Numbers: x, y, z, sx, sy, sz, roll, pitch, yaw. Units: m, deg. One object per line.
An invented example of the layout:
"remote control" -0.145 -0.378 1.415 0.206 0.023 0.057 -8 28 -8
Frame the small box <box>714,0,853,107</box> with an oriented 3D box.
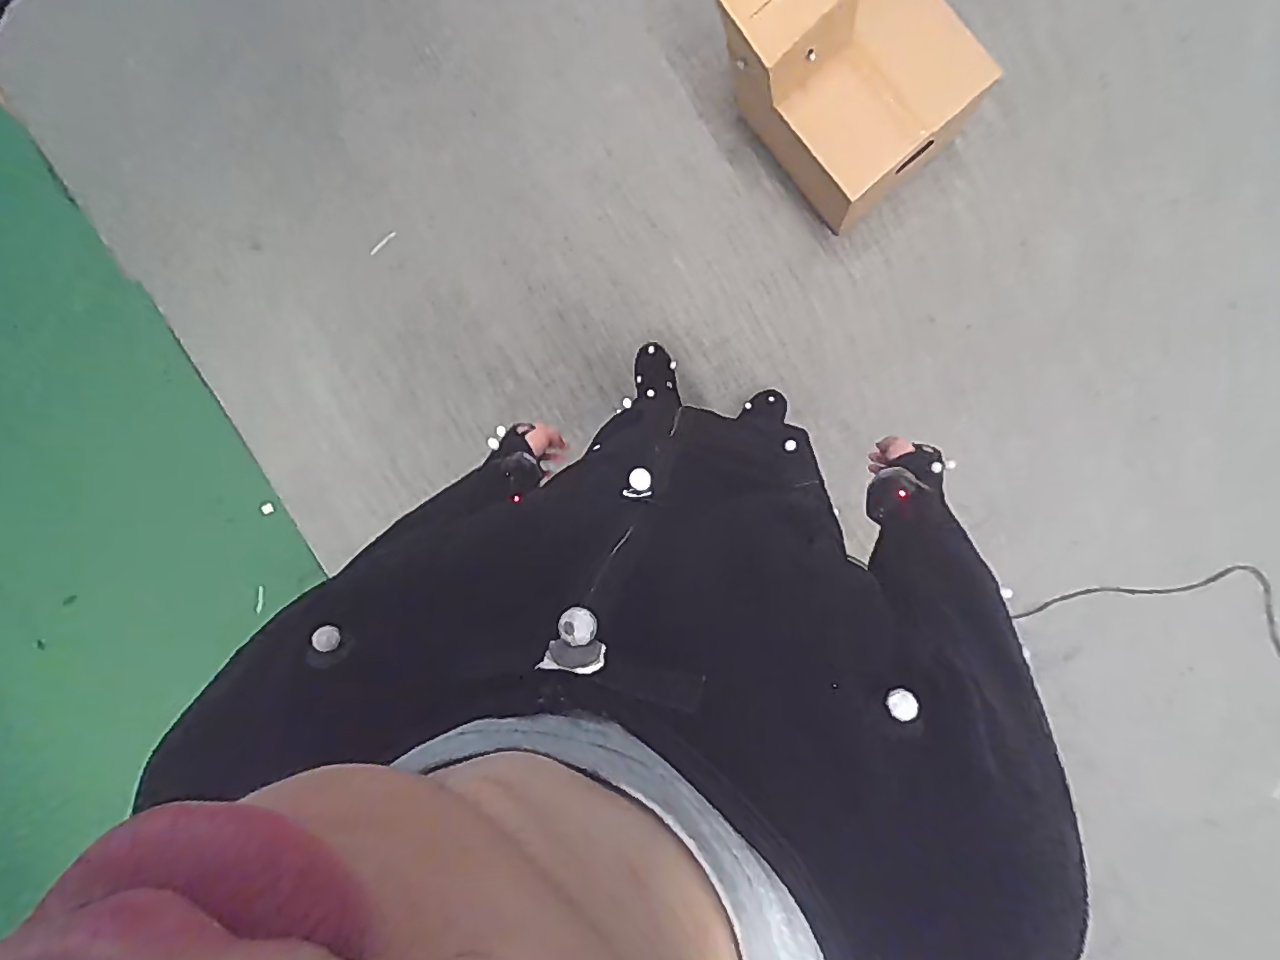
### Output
"small box" 0.248 -0.812 0.946 0.179 0.176 0.168 -35 91 21
